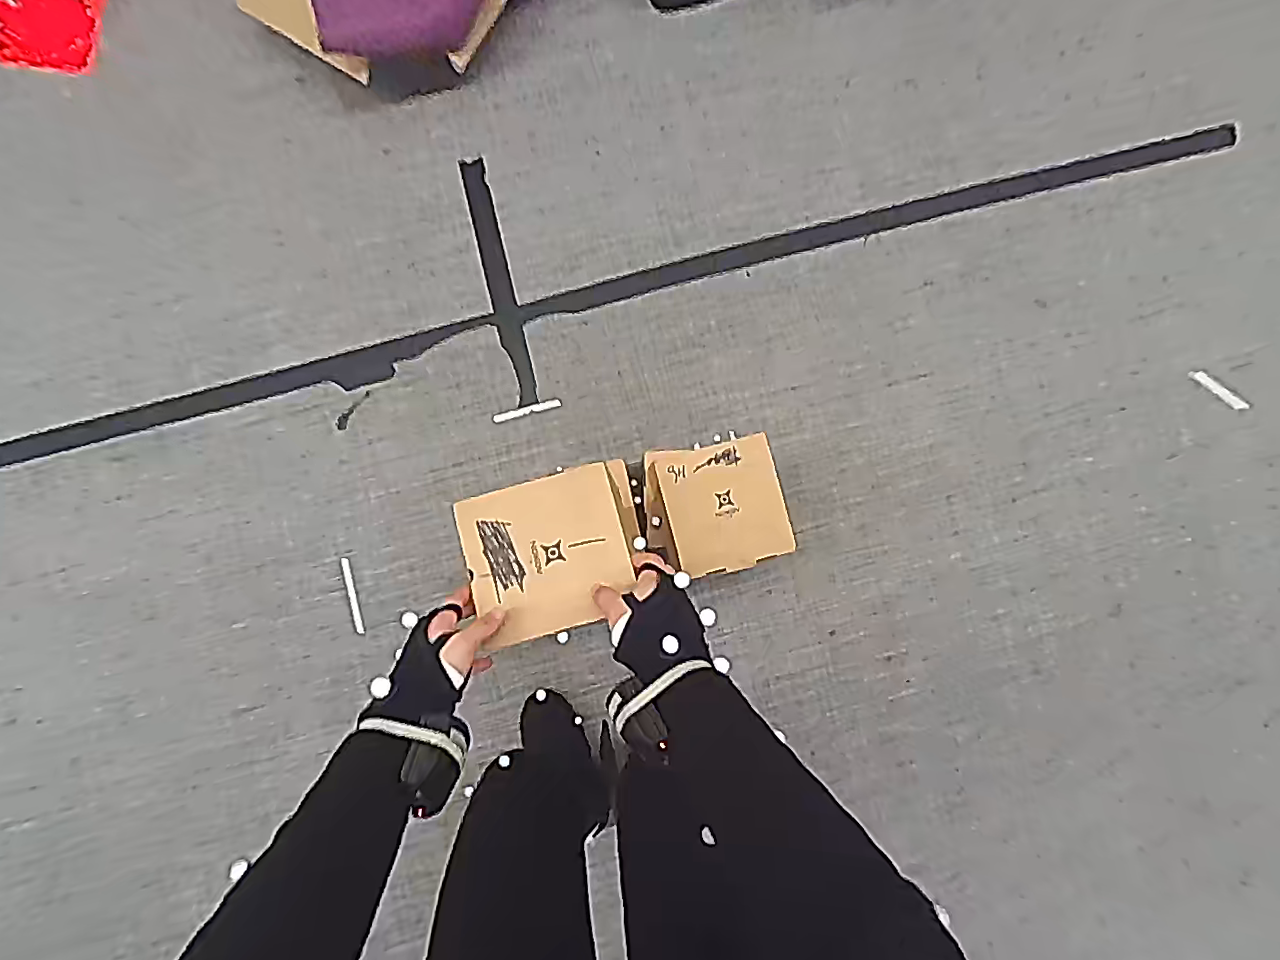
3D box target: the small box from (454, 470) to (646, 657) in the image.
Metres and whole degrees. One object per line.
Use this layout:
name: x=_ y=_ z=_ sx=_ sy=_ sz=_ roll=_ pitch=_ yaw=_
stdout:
small box: x=-0.097 y=0.104 z=0.656 sx=0.179 sy=0.176 sz=0.168 roll=-16 pitch=78 yaw=-1

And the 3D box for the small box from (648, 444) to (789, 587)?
small box: x=0.113 y=0.052 z=0.847 sx=0.168 sy=0.176 sz=0.179 roll=-14 pitch=88 yaw=-3
